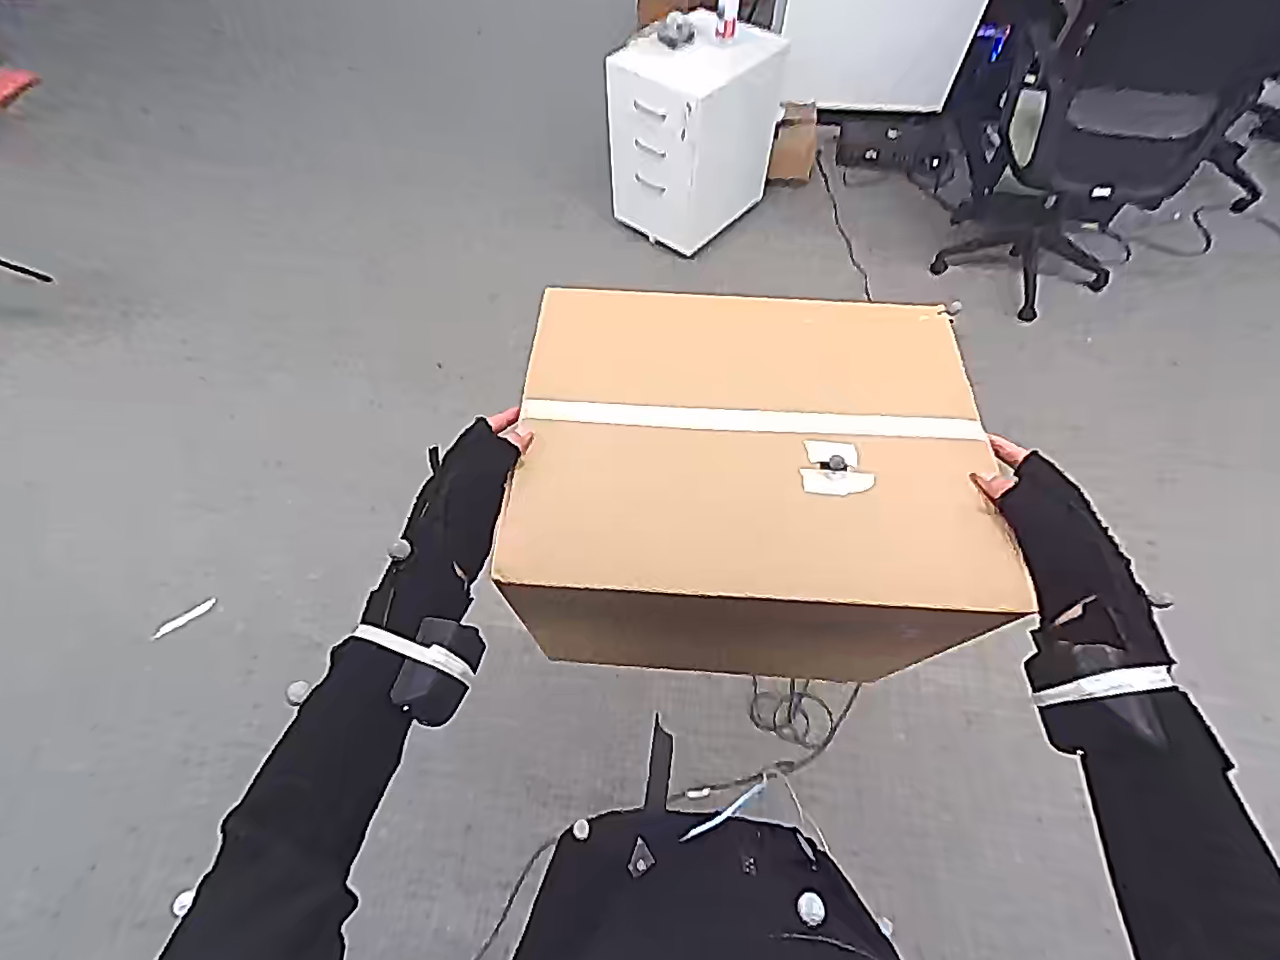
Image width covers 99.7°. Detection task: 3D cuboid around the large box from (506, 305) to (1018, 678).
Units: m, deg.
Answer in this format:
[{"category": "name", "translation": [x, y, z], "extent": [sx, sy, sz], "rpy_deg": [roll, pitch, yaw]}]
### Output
[{"category": "large box", "translation": [0.096, 0.031, 0.615], "extent": [0.408, 0.320, 0.320], "rpy_deg": [3, 61, 1]}]
